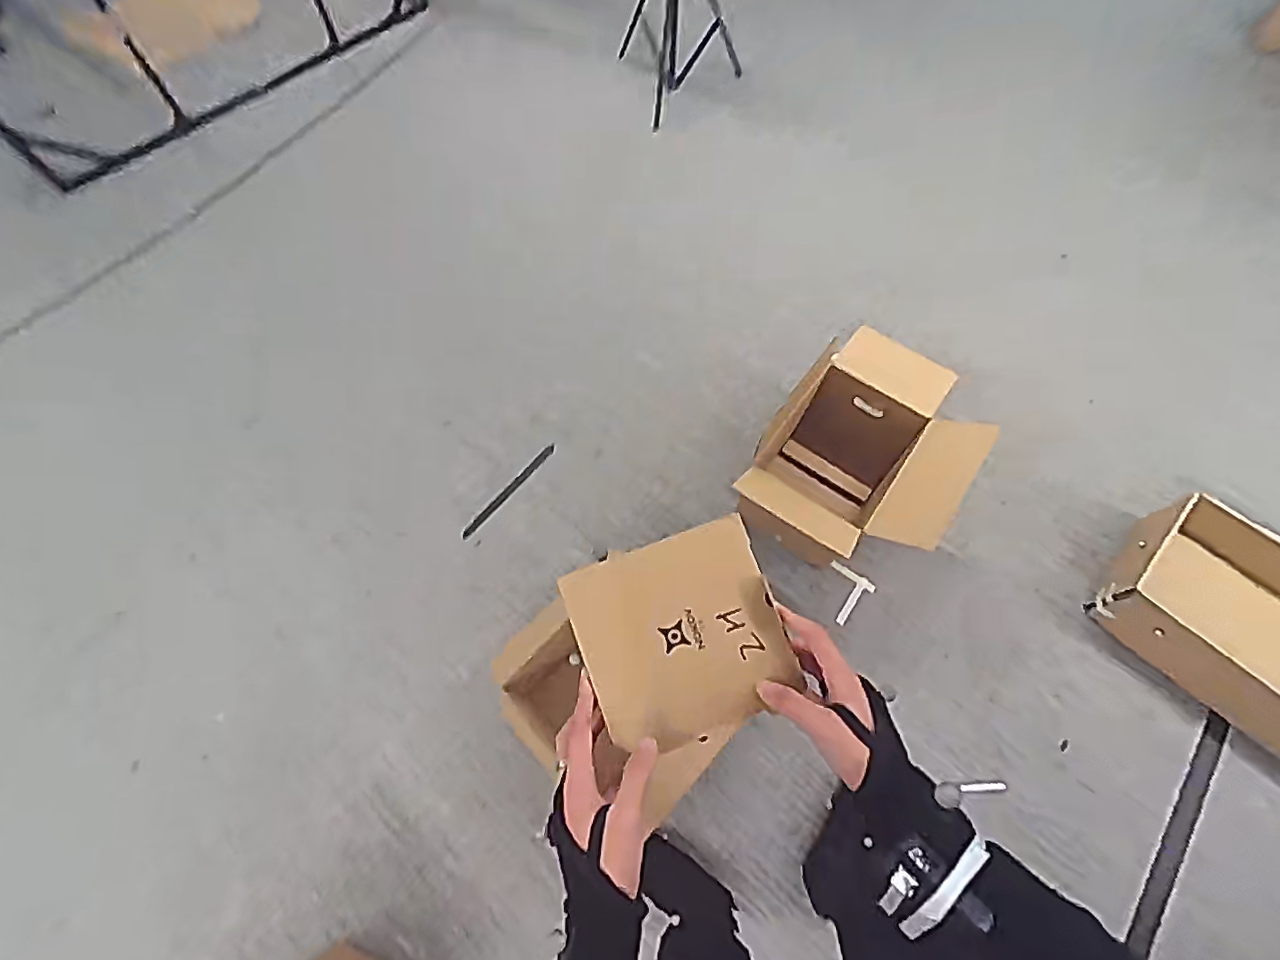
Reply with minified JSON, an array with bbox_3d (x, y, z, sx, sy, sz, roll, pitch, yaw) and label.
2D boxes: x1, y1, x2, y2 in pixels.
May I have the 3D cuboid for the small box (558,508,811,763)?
[{"bbox_3d":[0.030,0.143,0.532,0.179,0.176,0.168,-19,81,-10],"label":"small box"}]
